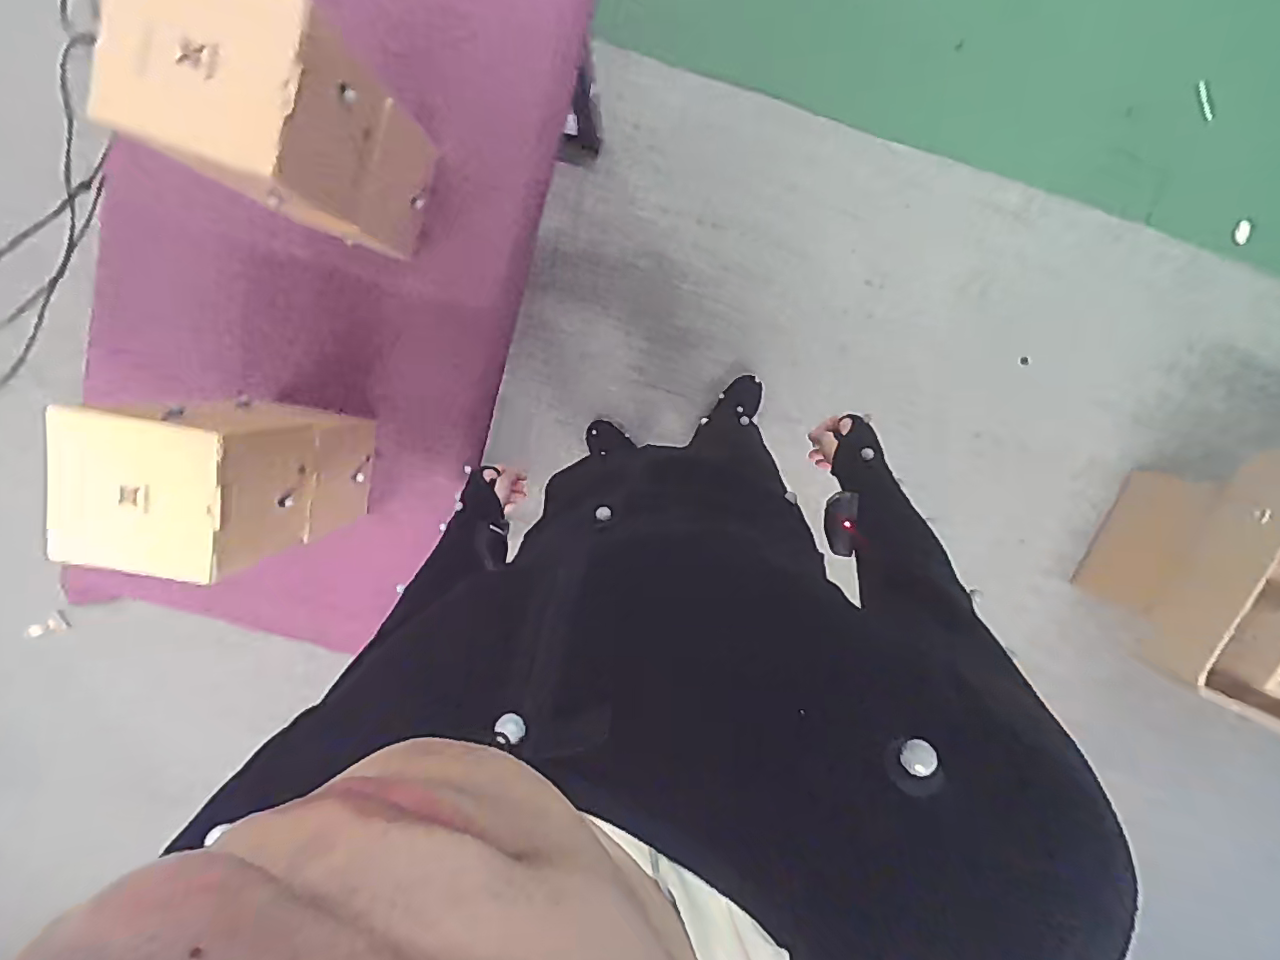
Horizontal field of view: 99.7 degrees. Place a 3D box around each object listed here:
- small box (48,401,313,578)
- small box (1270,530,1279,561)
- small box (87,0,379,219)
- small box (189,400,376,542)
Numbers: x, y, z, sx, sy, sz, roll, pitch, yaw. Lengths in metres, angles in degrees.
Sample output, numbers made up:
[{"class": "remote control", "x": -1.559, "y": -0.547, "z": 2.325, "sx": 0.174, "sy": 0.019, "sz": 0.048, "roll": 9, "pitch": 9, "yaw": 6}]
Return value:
[{"class": "small box", "x": -0.530, "y": 0.001, "z": 0.644, "sx": 0.179, "sy": 0.176, "sz": 0.168, "roll": 9, "pitch": 99, "yaw": -2}, {"class": "small box", "x": 1.635, "y": 0.146, "z": 1.236, "sx": 0.168, "sy": 0.176, "sz": 0.179, "roll": 26, "pitch": 98, "yaw": -5}, {"class": "small box", "x": -0.411, "y": -0.402, "z": 0.577, "sx": 0.179, "sy": 0.176, "sz": 0.168, "roll": 18, "pitch": 99, "yaw": -3}, {"class": "small box", "x": -0.527, "y": -0.021, "z": 0.805, "sx": 0.179, "sy": 0.176, "sz": 0.168, "roll": 11, "pitch": 99, "yaw": -2}]
